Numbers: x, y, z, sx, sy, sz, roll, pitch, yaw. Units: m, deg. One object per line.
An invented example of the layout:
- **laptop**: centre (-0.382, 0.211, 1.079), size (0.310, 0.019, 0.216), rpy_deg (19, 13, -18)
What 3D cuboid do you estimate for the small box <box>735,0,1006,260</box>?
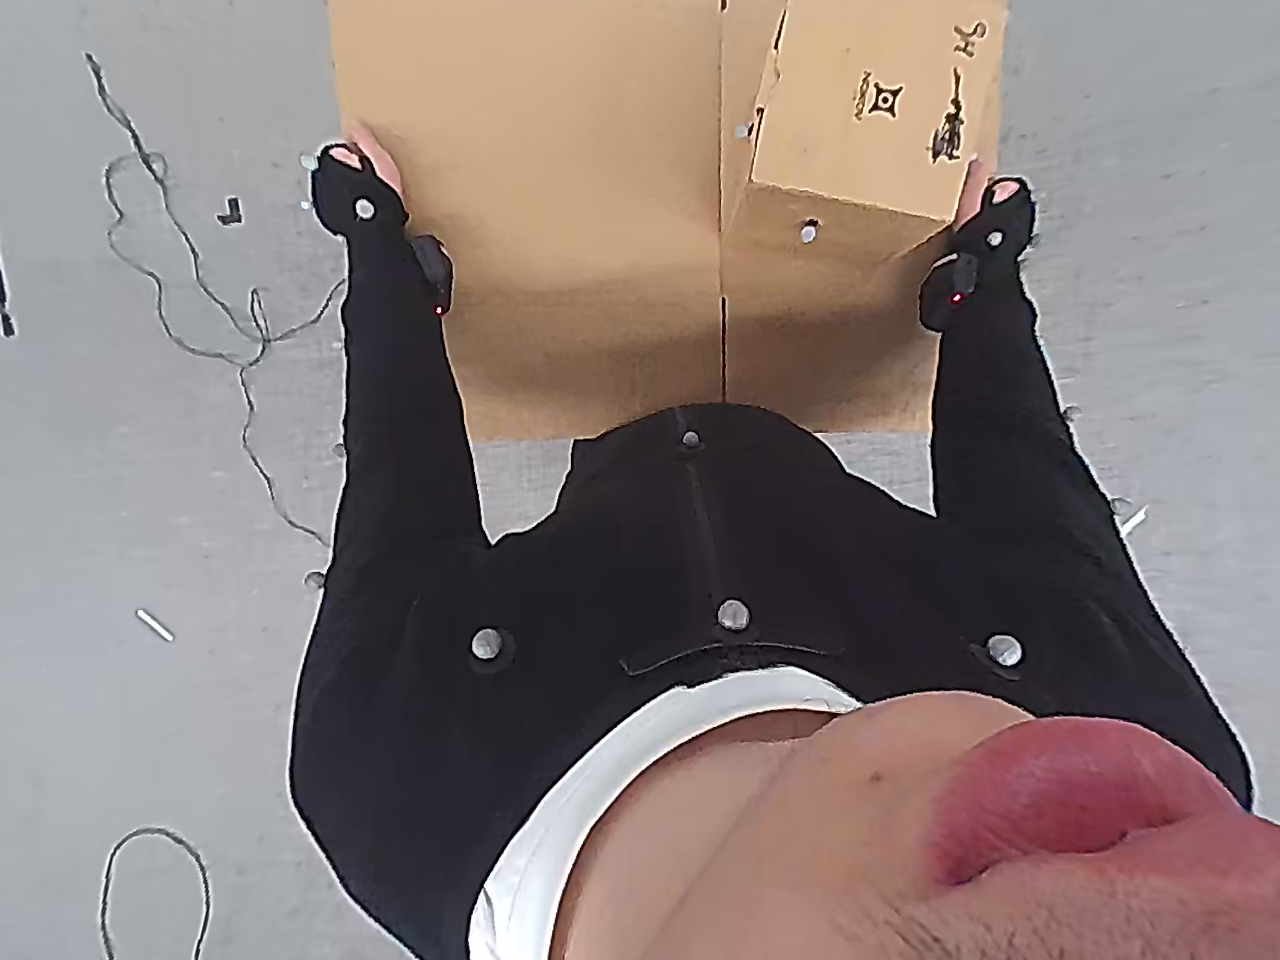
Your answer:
- **small box**: centre (0.197, -0.328, 0.522), size (0.179, 0.176, 0.168), rpy_deg (12, 98, 2)
